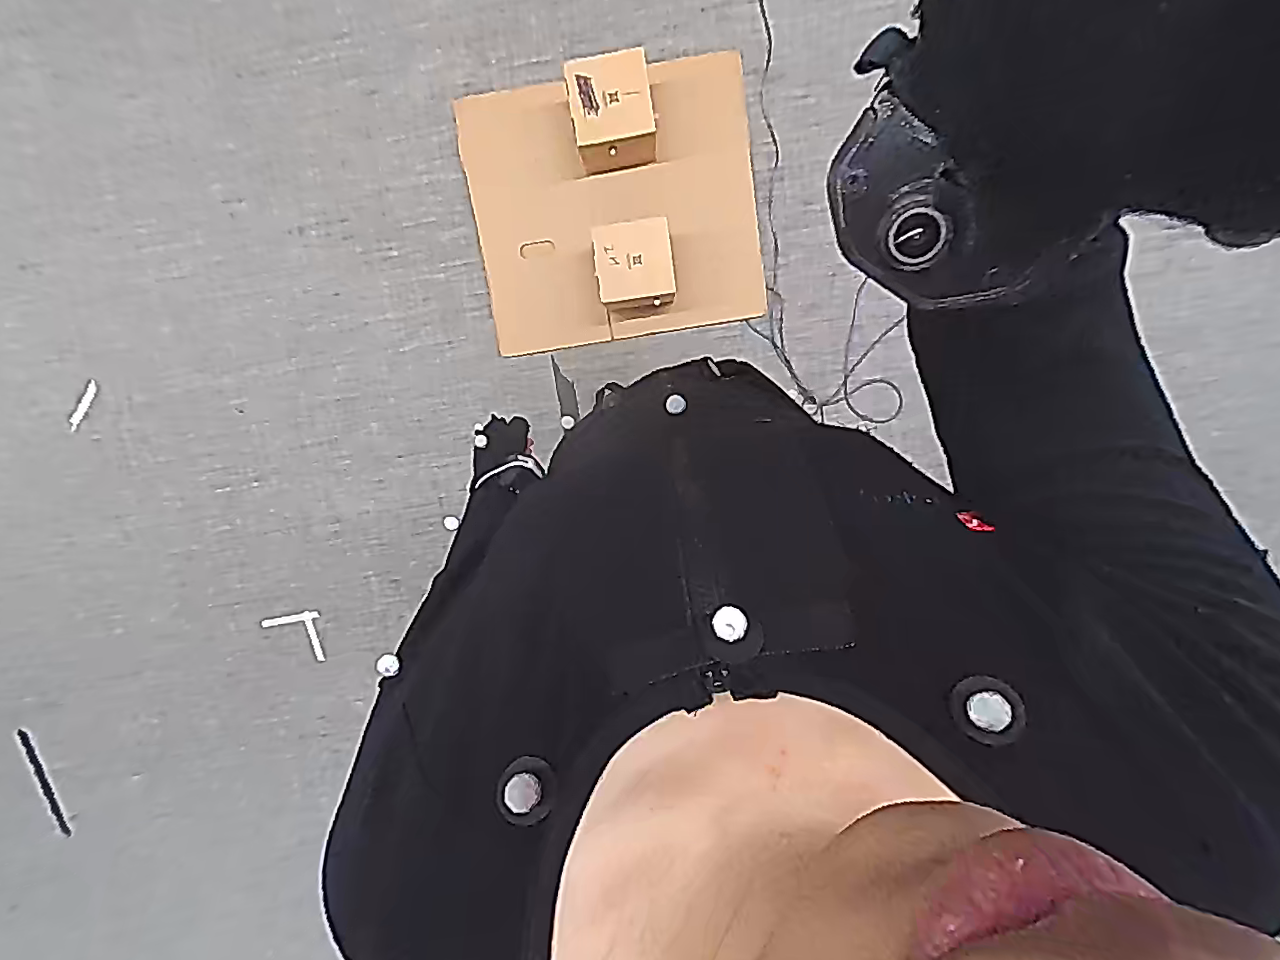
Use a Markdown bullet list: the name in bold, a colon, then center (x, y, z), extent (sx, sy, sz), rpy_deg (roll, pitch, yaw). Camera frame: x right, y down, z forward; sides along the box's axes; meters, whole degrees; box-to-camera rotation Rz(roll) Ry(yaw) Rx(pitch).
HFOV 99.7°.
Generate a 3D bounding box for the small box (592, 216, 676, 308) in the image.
- **small box**: center (-0.011, -0.515, 1.296), extent (0.179, 0.176, 0.168), rpy_deg (-7, 101, 4)

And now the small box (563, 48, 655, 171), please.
- **small box**: center (-0.063, -0.831, 1.233), extent (0.179, 0.176, 0.168), rpy_deg (-9, 101, 3)
